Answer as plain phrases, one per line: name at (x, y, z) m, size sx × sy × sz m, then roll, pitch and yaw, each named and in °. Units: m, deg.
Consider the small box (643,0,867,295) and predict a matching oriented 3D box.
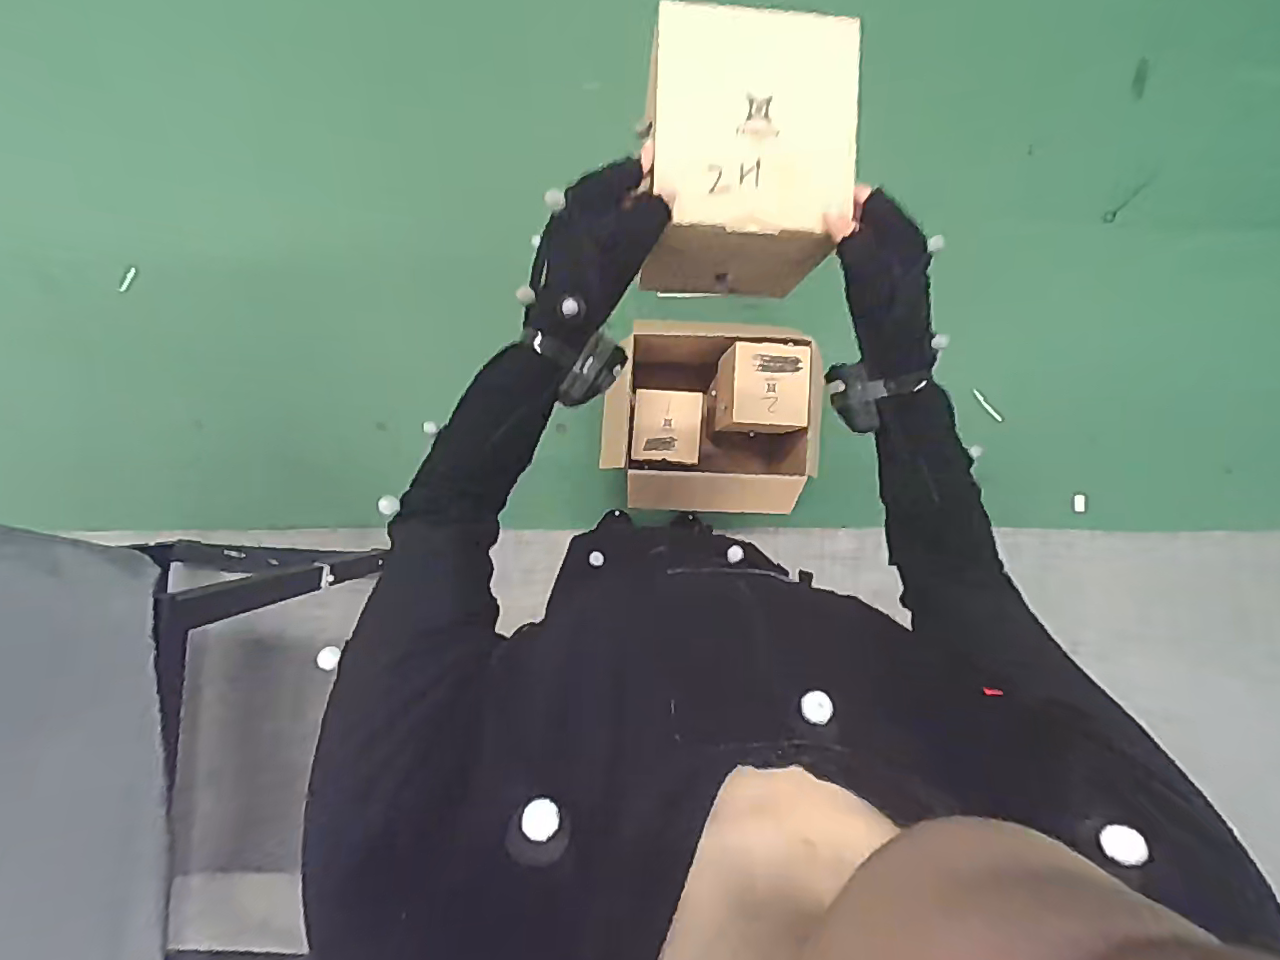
small box at (0.091, -0.294, 0.504) m, size 0.168 × 0.176 × 0.179 m, roll 2°, pitch 89°, yaw -3°
